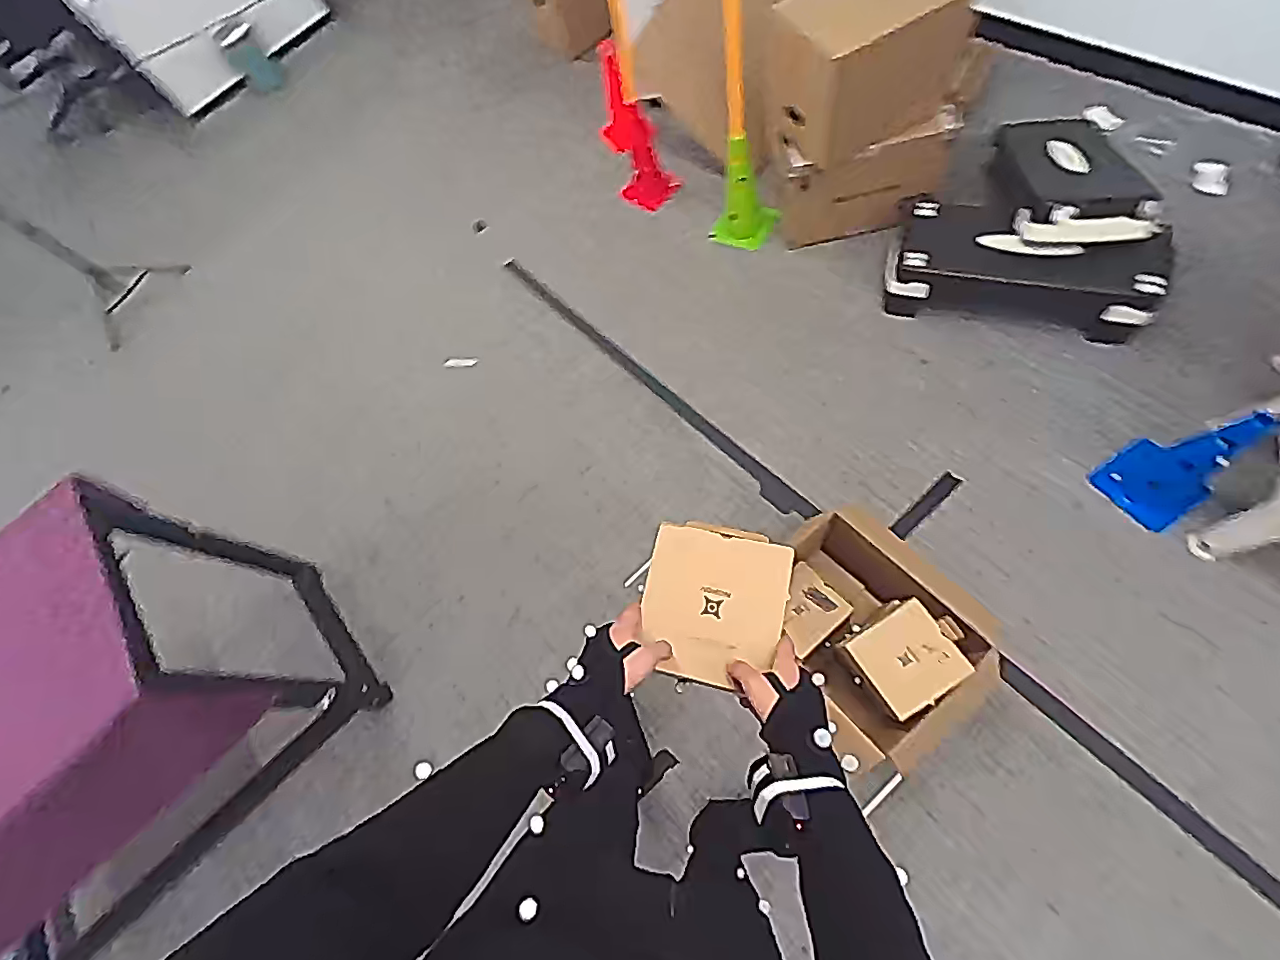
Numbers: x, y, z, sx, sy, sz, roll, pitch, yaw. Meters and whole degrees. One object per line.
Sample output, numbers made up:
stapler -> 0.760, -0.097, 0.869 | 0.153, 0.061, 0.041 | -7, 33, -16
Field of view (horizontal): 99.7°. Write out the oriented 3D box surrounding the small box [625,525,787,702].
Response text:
small box -> 0.086, 0.181, 0.712 | 0.168, 0.176, 0.179 | 11, 69, 10
